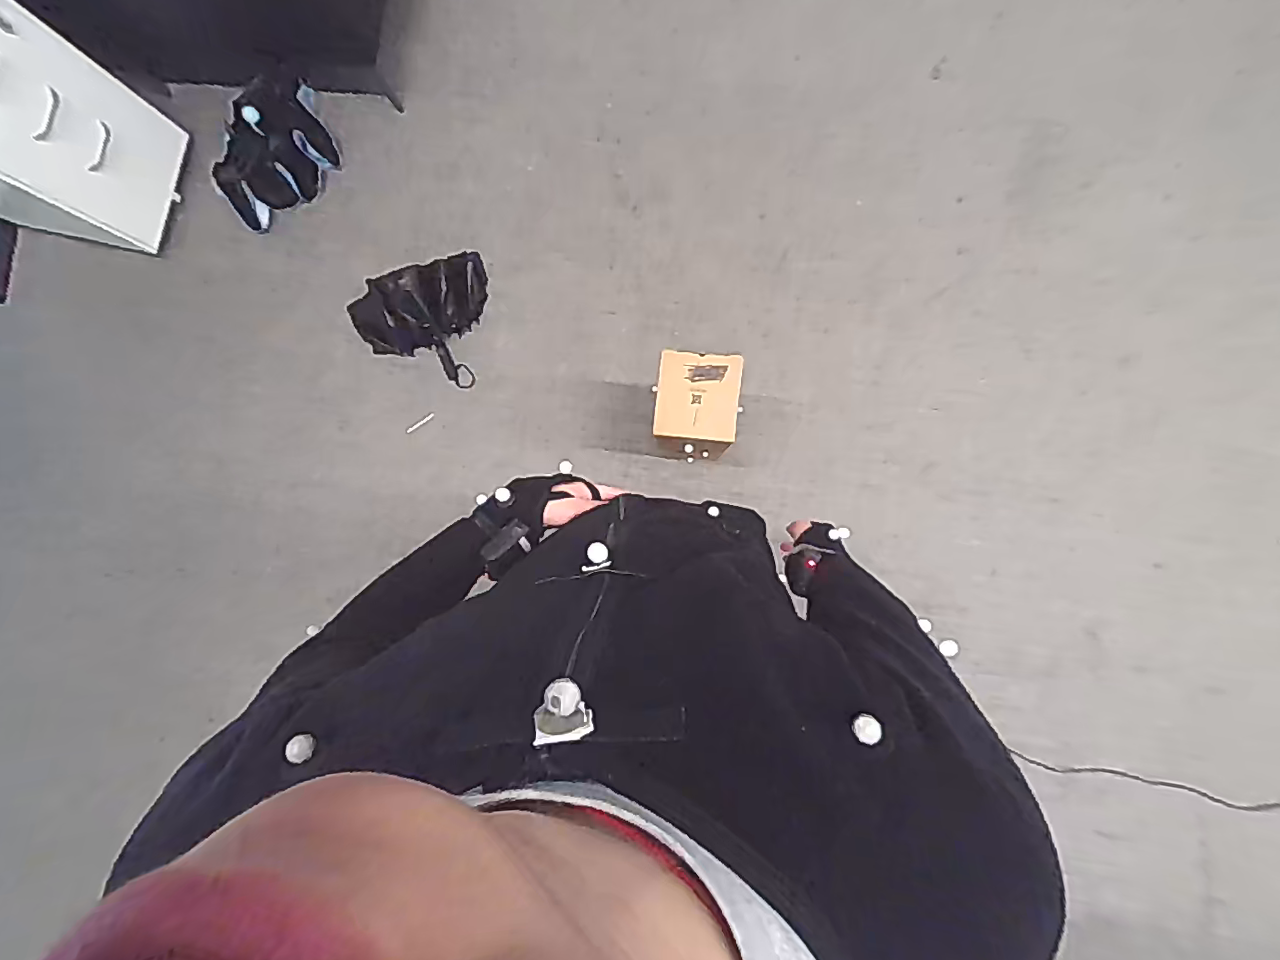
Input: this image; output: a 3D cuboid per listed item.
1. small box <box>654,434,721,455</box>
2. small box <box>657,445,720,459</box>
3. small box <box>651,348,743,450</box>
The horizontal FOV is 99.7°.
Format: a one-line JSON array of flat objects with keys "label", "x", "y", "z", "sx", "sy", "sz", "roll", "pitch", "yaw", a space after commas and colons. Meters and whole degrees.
[{"label": "small box", "x": 0.128, "y": -0.160, "z": 1.306, "sx": 0.168, "sy": 0.176, "sz": 0.179, "roll": 6, "pitch": 86, "yaw": 4}, {"label": "small box", "x": 0.139, "y": -0.152, "z": 1.467, "sx": 0.168, "sy": 0.176, "sz": 0.179, "roll": 5, "pitch": 88, "yaw": 4}, {"label": "small box", "x": 0.117, "y": -0.164, "z": 1.142, "sx": 0.168, "sy": 0.176, "sz": 0.179, "roll": 7, "pitch": 89, "yaw": 4}]
